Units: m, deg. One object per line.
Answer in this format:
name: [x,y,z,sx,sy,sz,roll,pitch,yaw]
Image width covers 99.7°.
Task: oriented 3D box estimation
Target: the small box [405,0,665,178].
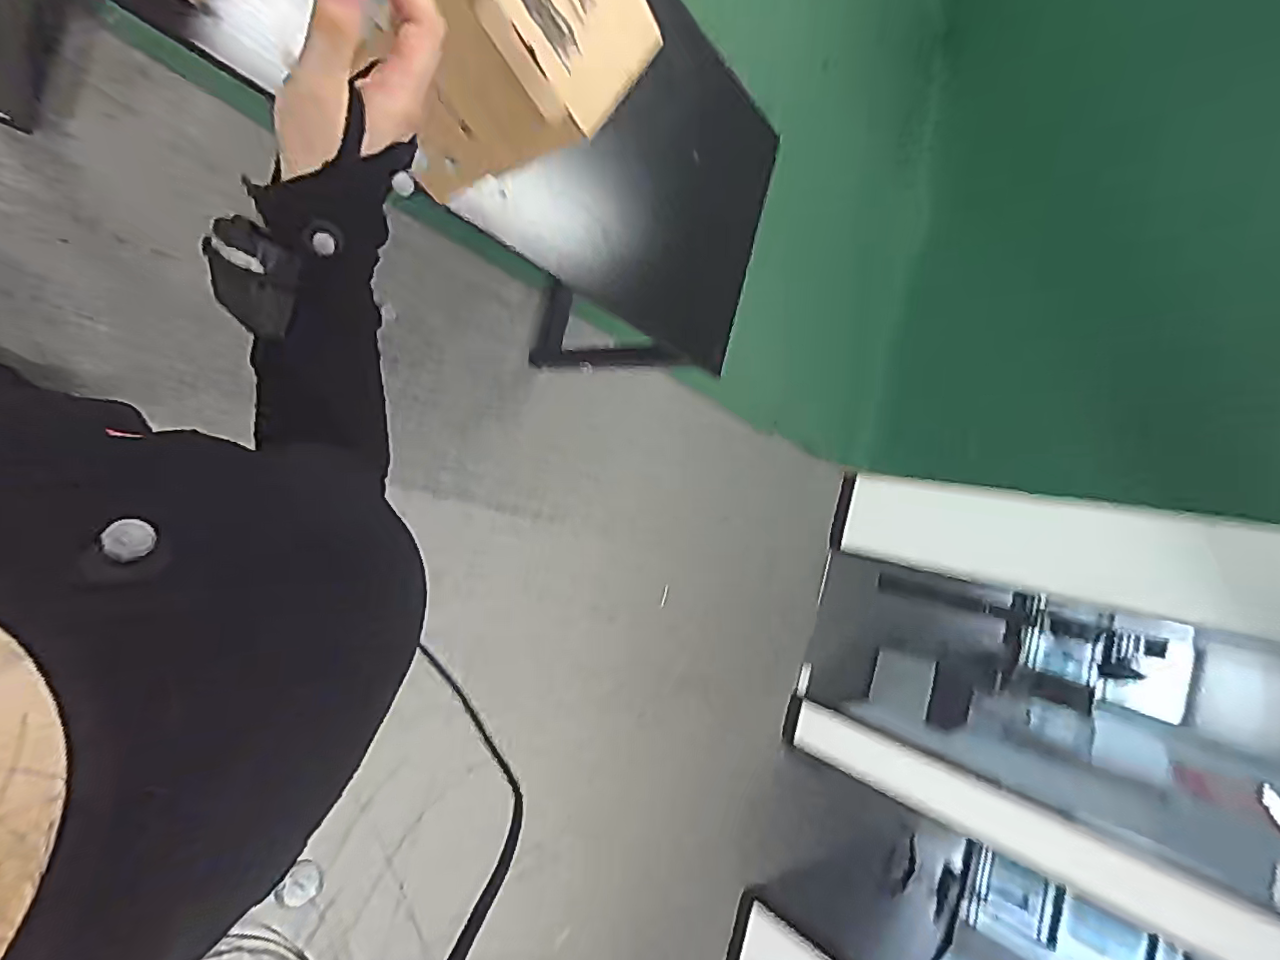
small box: [-0.112,-0.451,0.559,0.168,0.176,0.179,45,66,-41]
